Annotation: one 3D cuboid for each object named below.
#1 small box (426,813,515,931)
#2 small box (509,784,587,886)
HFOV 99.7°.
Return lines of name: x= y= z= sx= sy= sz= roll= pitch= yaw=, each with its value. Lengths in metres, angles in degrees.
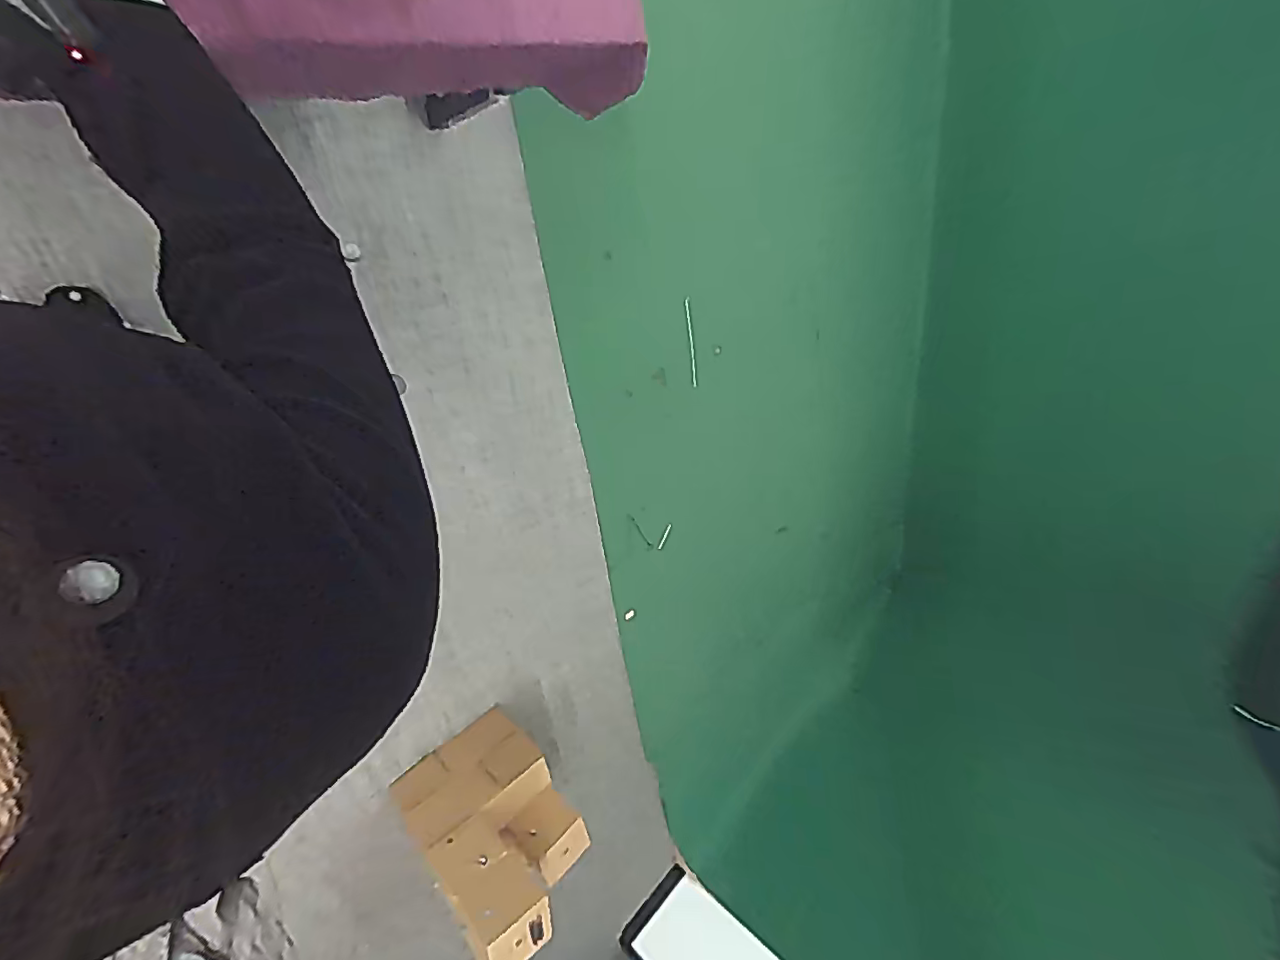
small box: x=-0.479 y=1.099 z=1.531 sx=0.168 sy=0.176 sz=0.179 roll=-25 pitch=122 yaw=-38
small box: x=-0.300 y=1.130 z=1.733 sx=0.179 sy=0.176 sz=0.168 roll=-32 pitch=127 yaw=-36
